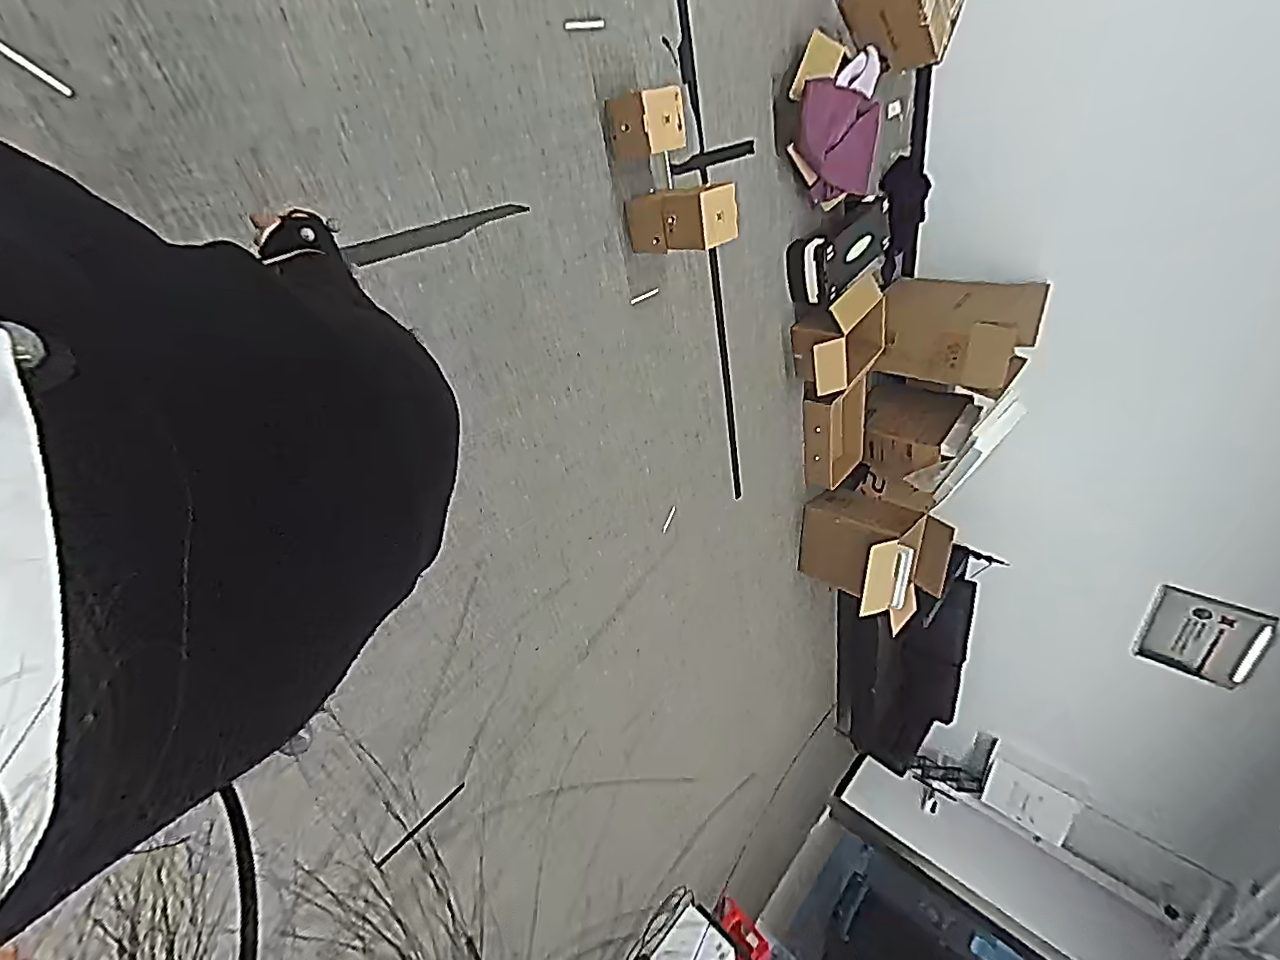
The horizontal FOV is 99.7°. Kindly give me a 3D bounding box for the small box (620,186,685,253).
[{"bbox_3d":[0.055,-0.904,1.877,0.168,0.176,0.179,-38,131,-31],"label":"small box"}]

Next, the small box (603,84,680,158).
[{"bbox_3d":[0.001,-1.137,1.716,0.179,0.176,0.168,-34,129,-32],"label":"small box"}]

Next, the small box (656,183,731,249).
[{"bbox_3d":[0.177,-0.867,1.775,0.179,0.176,0.168,-35,129,-31],"label":"small box"}]
